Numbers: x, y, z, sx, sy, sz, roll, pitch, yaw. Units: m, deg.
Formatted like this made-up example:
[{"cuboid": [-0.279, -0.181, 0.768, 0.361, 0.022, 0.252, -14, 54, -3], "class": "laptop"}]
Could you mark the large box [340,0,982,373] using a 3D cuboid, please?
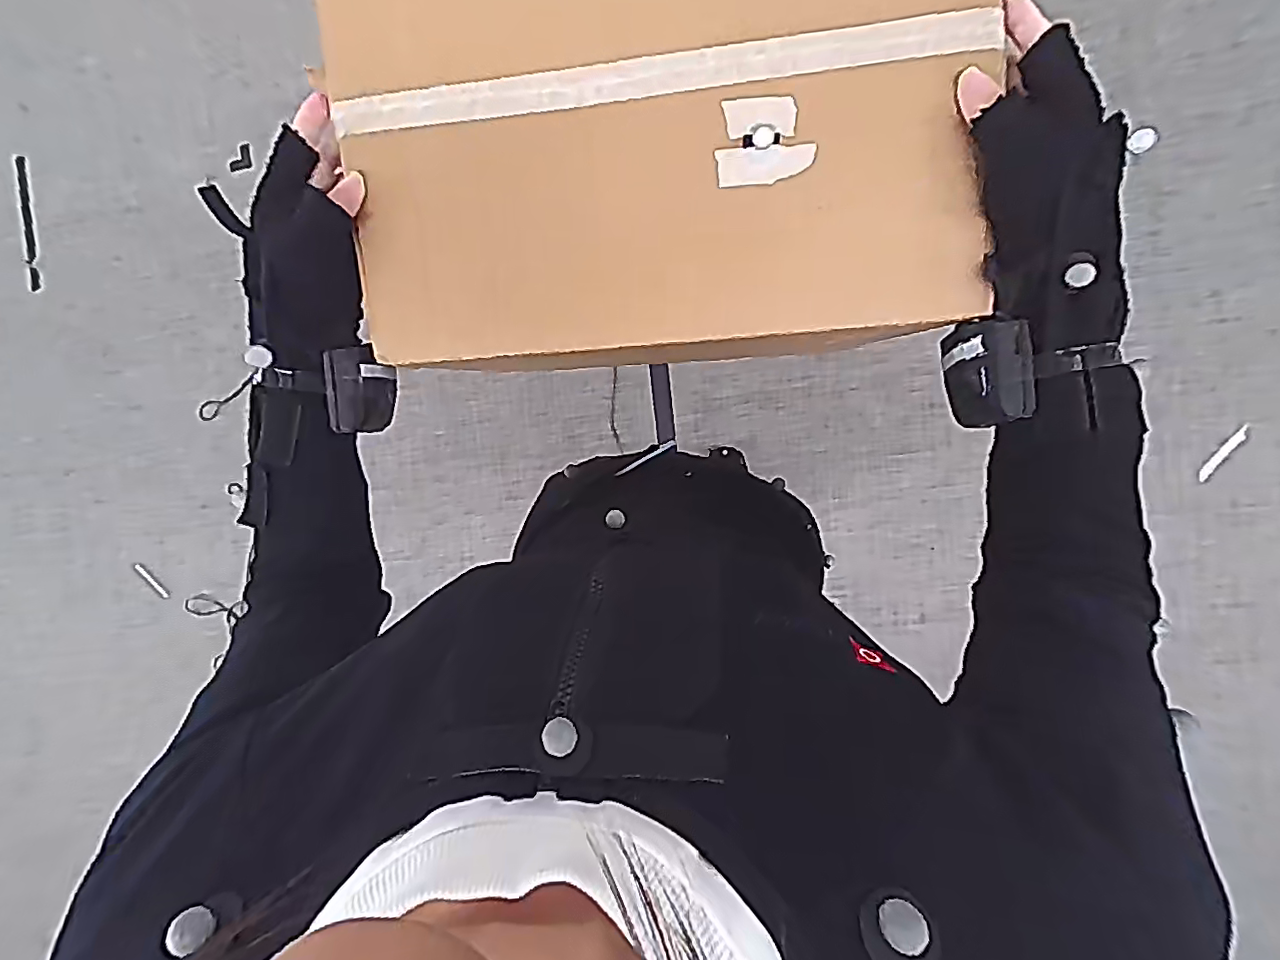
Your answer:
[{"cuboid": [0.019, -0.275, 0.490, 0.408, 0.320, 0.320, -4, 101, 5], "class": "large box"}]
